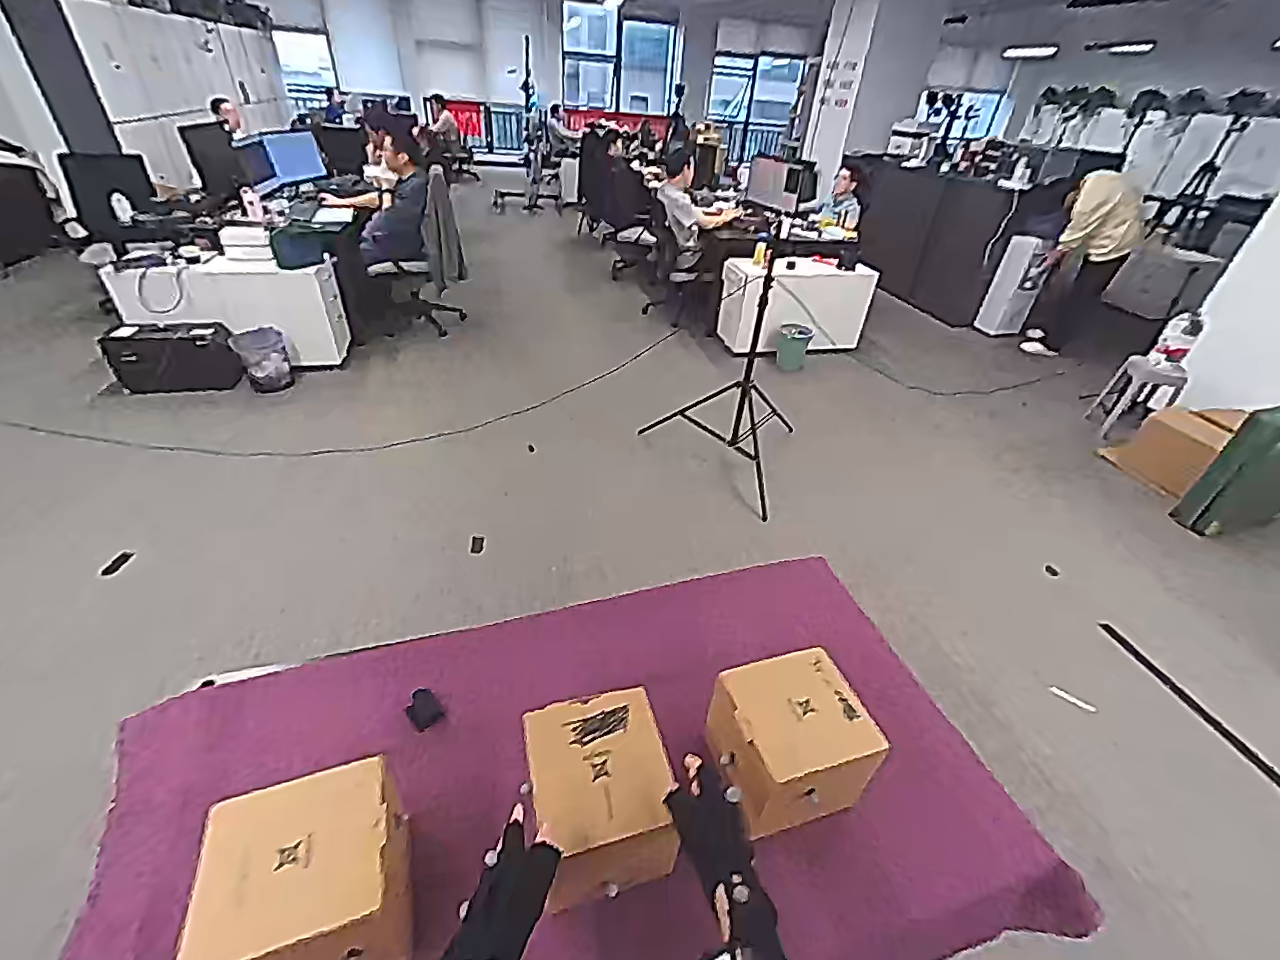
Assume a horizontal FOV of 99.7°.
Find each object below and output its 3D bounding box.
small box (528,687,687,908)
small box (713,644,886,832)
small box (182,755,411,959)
[{"bbox_3d":[-0.052,0.409,0.708,0.168,0.176,0.179,-7,38,-16],"label":"small box"},{"bbox_3d":[0.215,0.374,0.787,0.179,0.176,0.168,-8,37,-16],"label":"small box"},{"bbox_3d":[-0.364,0.455,0.611,0.179,0.176,0.168,-11,37,-19],"label":"small box"}]
